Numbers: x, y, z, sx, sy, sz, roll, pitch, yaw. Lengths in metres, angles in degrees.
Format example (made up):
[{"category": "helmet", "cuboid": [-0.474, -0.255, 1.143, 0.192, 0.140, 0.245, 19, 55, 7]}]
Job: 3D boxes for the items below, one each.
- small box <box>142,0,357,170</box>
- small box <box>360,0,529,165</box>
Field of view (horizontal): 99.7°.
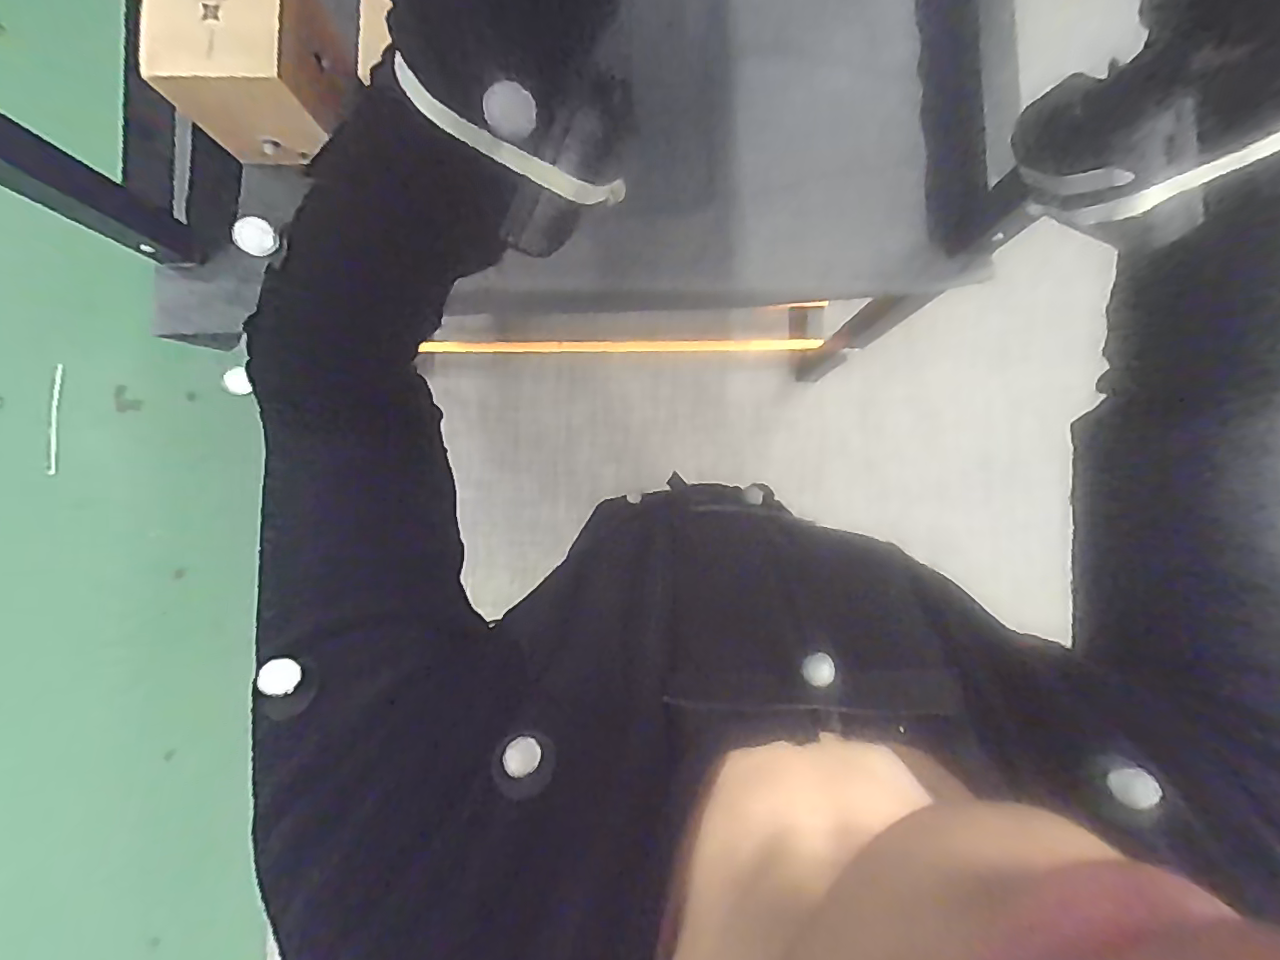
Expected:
[{"category": "small box", "cuboid": [-0.500, -0.549, 0.719, 0.168, 0.176, 0.179, 1, 88, 1]}, {"category": "small box", "cuboid": [-0.247, -0.550, 0.719, 0.168, 0.176, 0.179, 0, 87, 0]}]
